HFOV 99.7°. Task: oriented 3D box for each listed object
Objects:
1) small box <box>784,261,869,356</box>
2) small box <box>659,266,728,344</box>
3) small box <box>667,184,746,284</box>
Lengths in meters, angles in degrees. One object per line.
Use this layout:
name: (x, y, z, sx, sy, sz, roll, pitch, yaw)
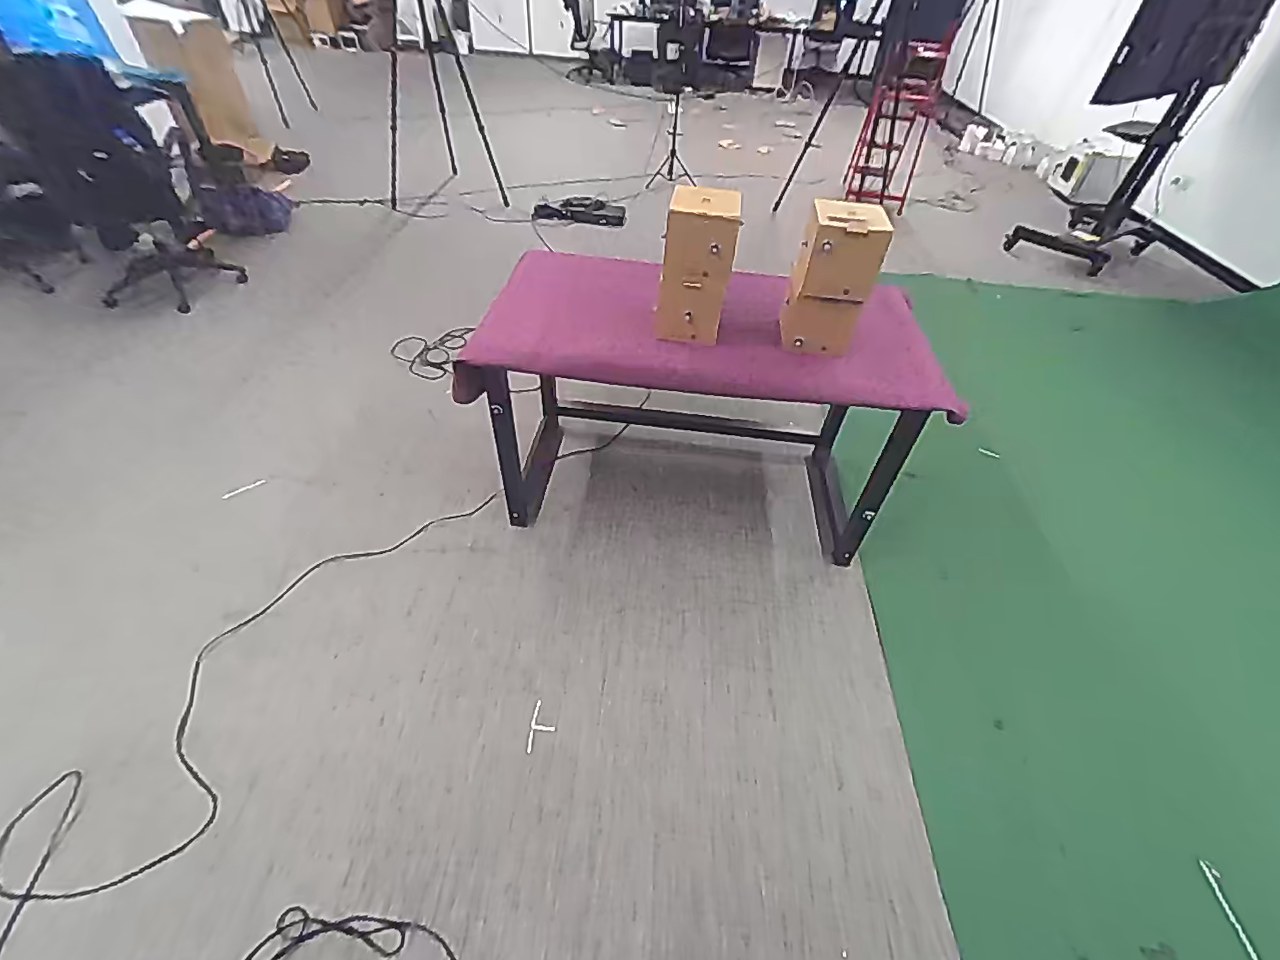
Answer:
small box: (0.485, -0.450, 1.426, 0.168, 0.176, 0.179, 11, 46, 4)
small box: (0.144, -0.483, 1.435, 0.168, 0.176, 0.179, 9, 46, 4)
small box: (0.160, -0.597, 1.319, 0.168, 0.176, 0.179, 9, 46, 4)
